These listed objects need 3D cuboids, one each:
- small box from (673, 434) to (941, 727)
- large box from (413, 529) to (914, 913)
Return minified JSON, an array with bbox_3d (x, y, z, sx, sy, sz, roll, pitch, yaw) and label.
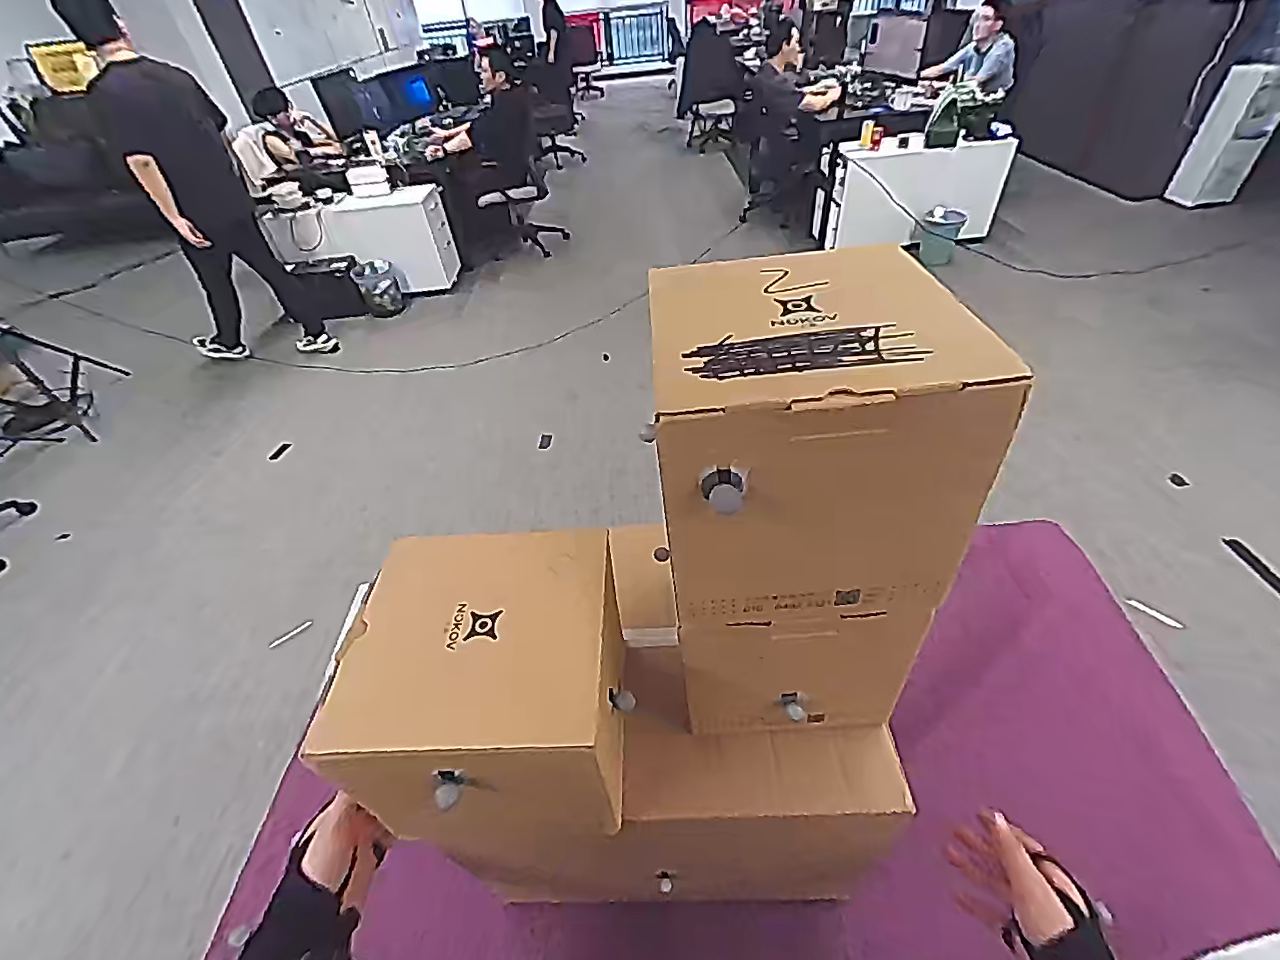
[{"bbox_3d":[0.117,0.084,0.459,0.168,0.176,0.179,-6,42,4],"label":"small box"},{"bbox_3d":[0.027,0.274,0.630,0.408,0.320,0.320,-5,40,3],"label":"large box"}]
